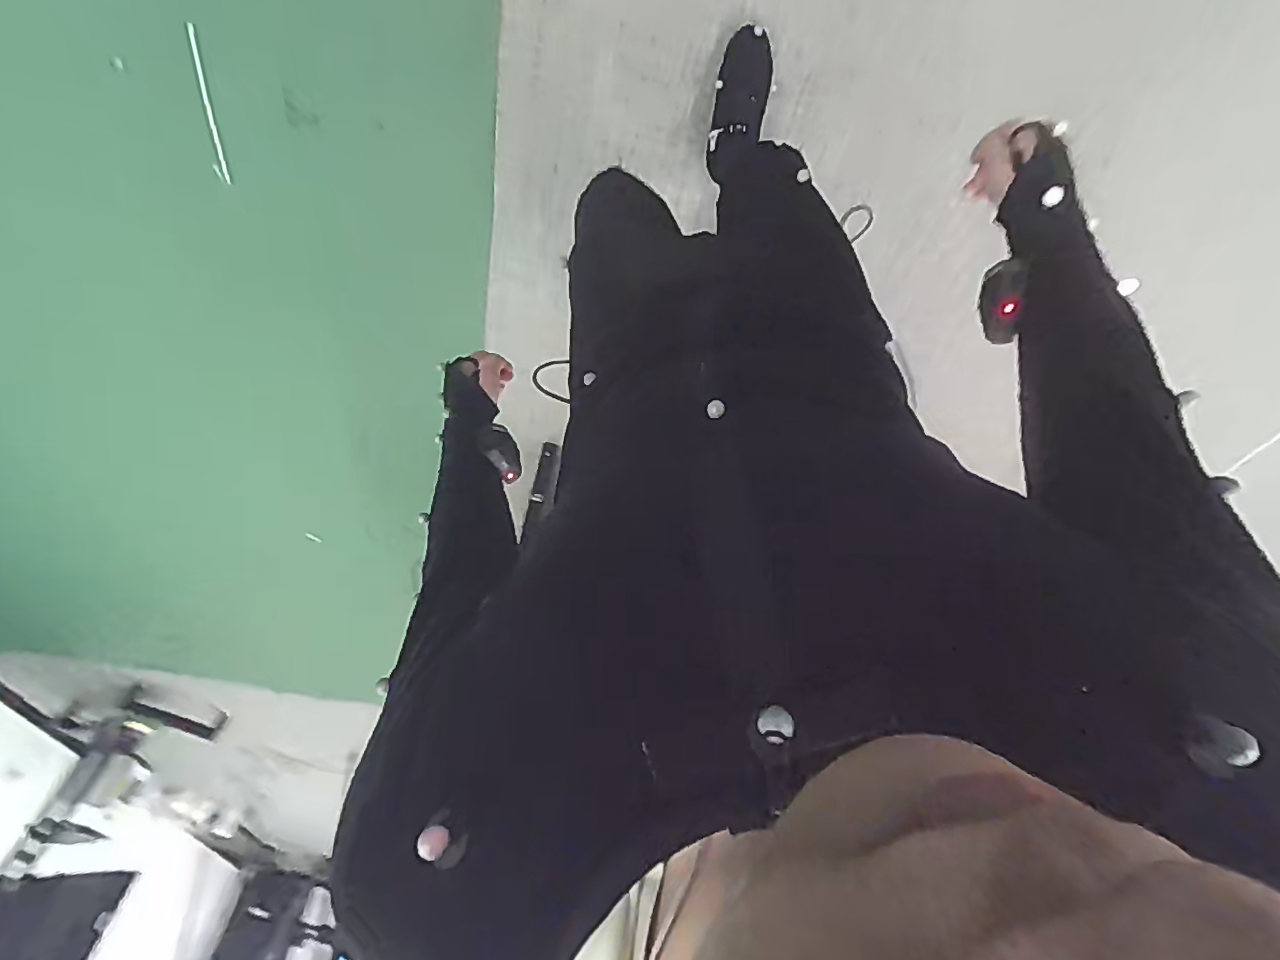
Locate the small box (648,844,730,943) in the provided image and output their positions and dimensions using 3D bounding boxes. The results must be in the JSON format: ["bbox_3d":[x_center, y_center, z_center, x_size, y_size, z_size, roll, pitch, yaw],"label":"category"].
[{"bbox_3d":[0.124,1.069,1.400,0.168,0.176,0.179,12,132,-7],"label":"small box"}]
